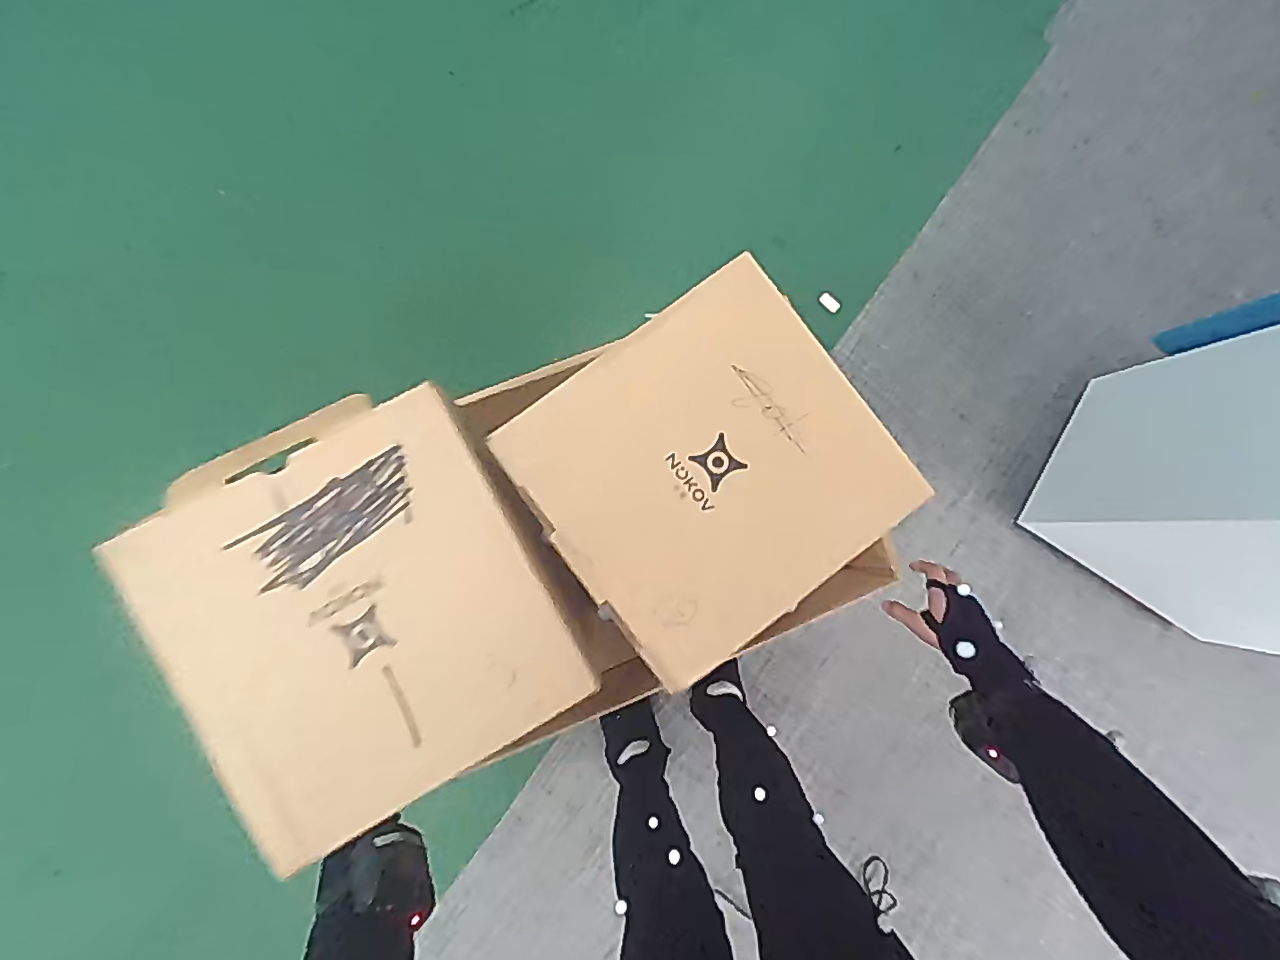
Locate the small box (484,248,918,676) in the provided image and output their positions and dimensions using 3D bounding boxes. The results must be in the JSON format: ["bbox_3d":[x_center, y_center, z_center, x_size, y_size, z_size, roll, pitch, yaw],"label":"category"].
[{"bbox_3d":[0.031,-0.006,0.362,0.179,0.176,0.168,-36,88,-5],"label":"small box"}]
